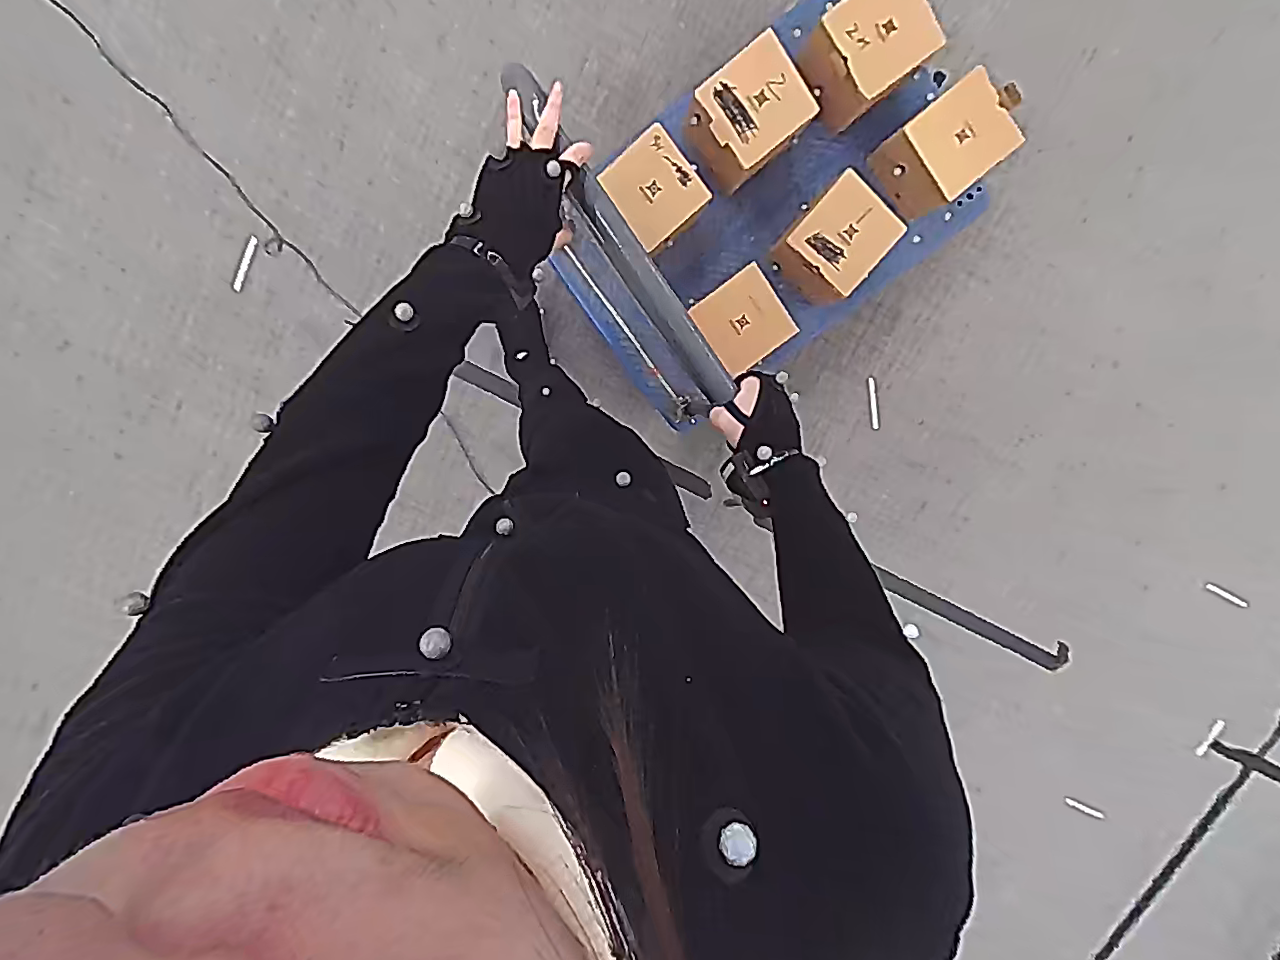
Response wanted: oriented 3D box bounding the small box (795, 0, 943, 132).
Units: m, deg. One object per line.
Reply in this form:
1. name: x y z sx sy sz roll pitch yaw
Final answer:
1. small box: 0.434 -0.829 1.051 0.179 0.176 0.168 -34 101 5

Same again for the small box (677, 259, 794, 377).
1. small box: 0.191 -0.336 1.150 0.179 0.176 0.168 -36 102 4

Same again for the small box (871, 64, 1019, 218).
1. small box: 0.600 -0.669 1.096 0.179 0.176 0.168 -39 101 6

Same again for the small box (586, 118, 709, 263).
1. small box: 0.012 -0.566 1.088 0.179 0.176 0.168 -39 102 6

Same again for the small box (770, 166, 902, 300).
1. small box: 0.391 -0.497 1.123 0.168 0.176 0.179 41 97 -10
